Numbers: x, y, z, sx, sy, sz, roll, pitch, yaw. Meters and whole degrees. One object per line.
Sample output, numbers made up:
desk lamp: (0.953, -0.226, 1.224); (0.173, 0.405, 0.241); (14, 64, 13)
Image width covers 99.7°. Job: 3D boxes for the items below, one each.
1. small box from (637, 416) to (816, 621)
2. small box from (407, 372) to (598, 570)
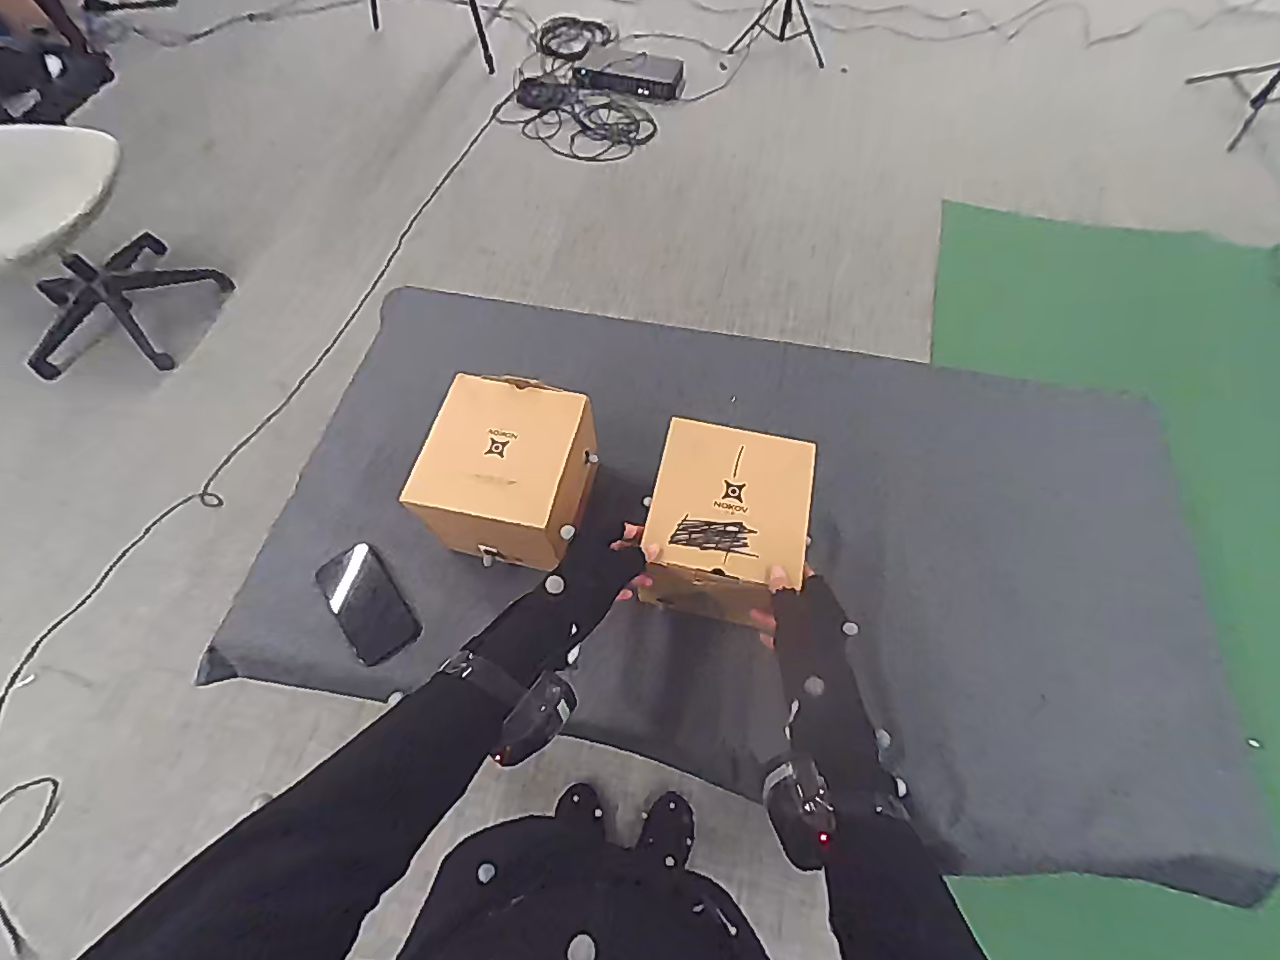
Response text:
small box: (0.098, 0.053, 0.642); (0.168, 0.176, 0.179); (12, 63, 7)
small box: (-0.153, -0.005, 0.679); (0.168, 0.176, 0.179); (10, 65, 7)
